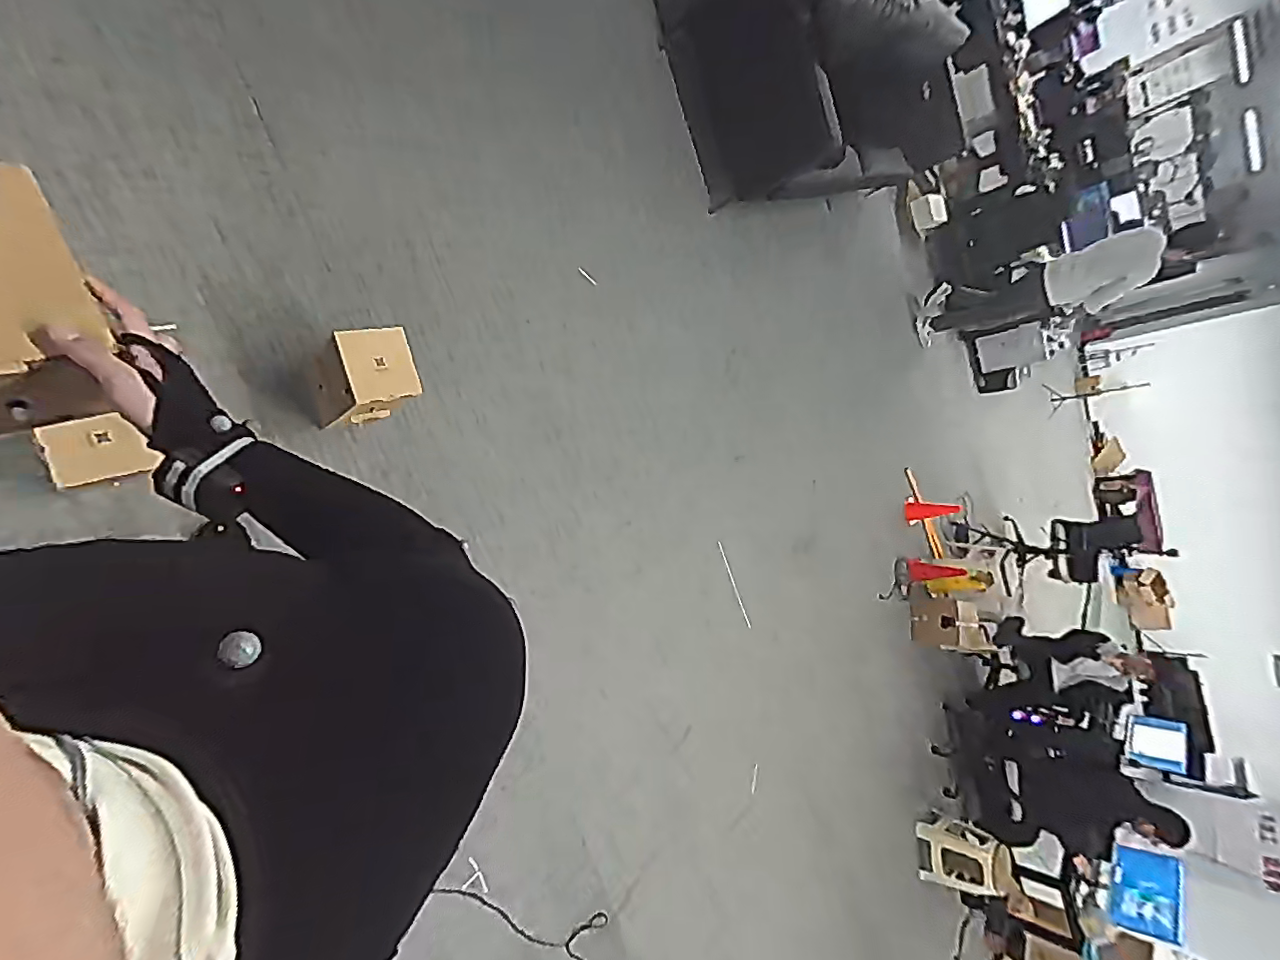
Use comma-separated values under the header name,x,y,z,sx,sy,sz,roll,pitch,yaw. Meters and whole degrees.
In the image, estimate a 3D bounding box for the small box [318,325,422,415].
name,x,y,z,sx,sy,sz,roll,pitch,yaw
small box,-0.686,-0.277,1.367,0.168,0.176,0.179,-21,99,-43

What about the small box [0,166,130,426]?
name,x,y,z,sx,sy,sz,roll,pitch,yaw
small box,-0.598,-0.149,0.482,0.168,0.176,0.179,-26,96,-41

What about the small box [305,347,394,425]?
name,x,y,z,sx,sy,sz,roll,pitch,yaw
small box,-0.798,-0.257,1.480,0.168,0.176,0.179,-14,95,-41

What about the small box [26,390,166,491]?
name,x,y,z,sx,sy,sz,roll,pitch,yaw
small box,-1.143,-0.081,1.146,0.179,0.176,0.168,-22,100,-42
